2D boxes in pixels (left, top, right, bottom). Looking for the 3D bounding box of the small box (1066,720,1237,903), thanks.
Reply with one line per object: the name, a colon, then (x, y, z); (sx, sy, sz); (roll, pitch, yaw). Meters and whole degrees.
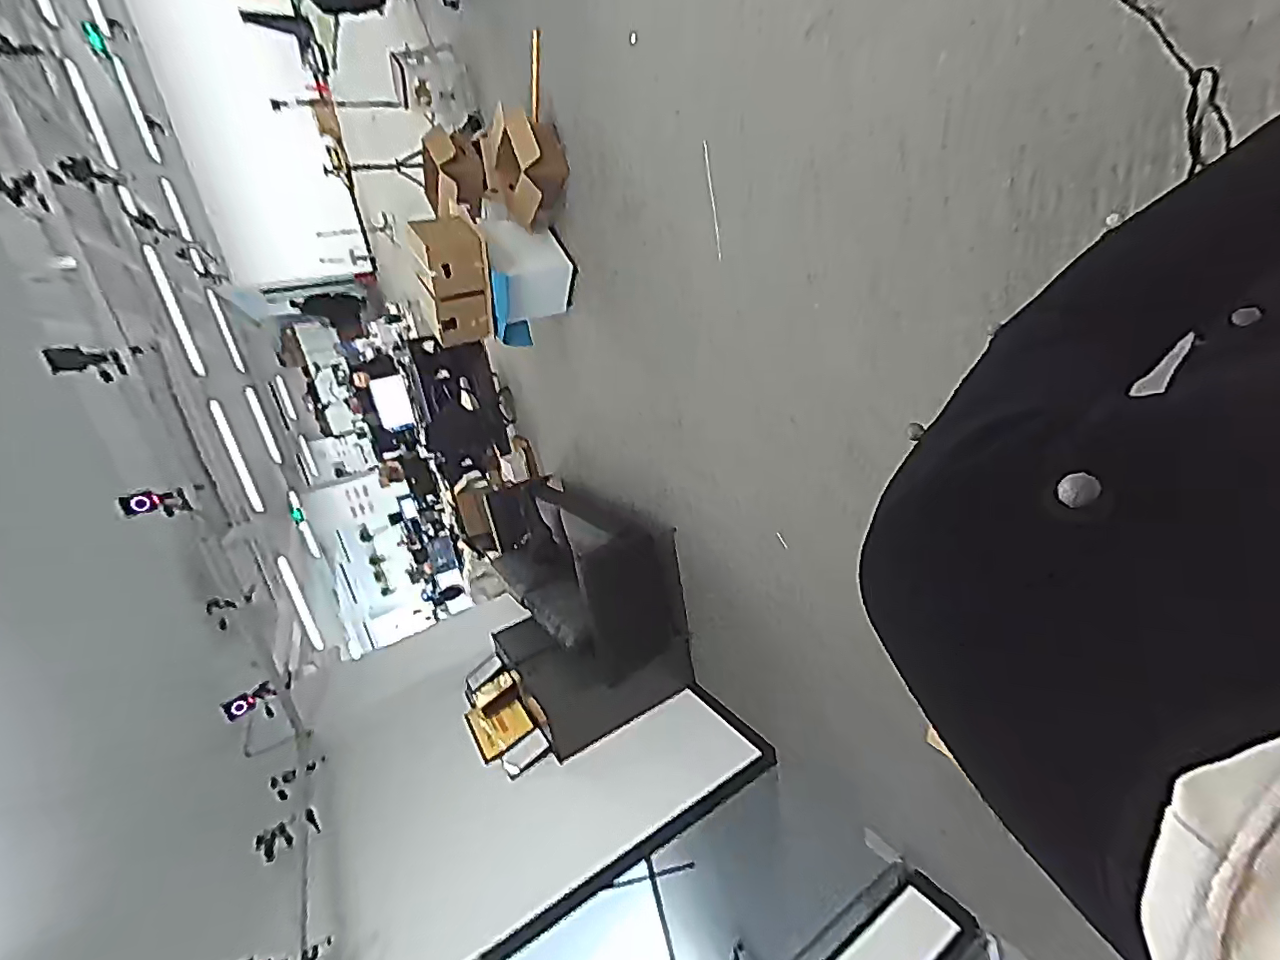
small box: (0.895, 0.570, 0.952); (0.168, 0.176, 0.179); (25, 130, 53)
